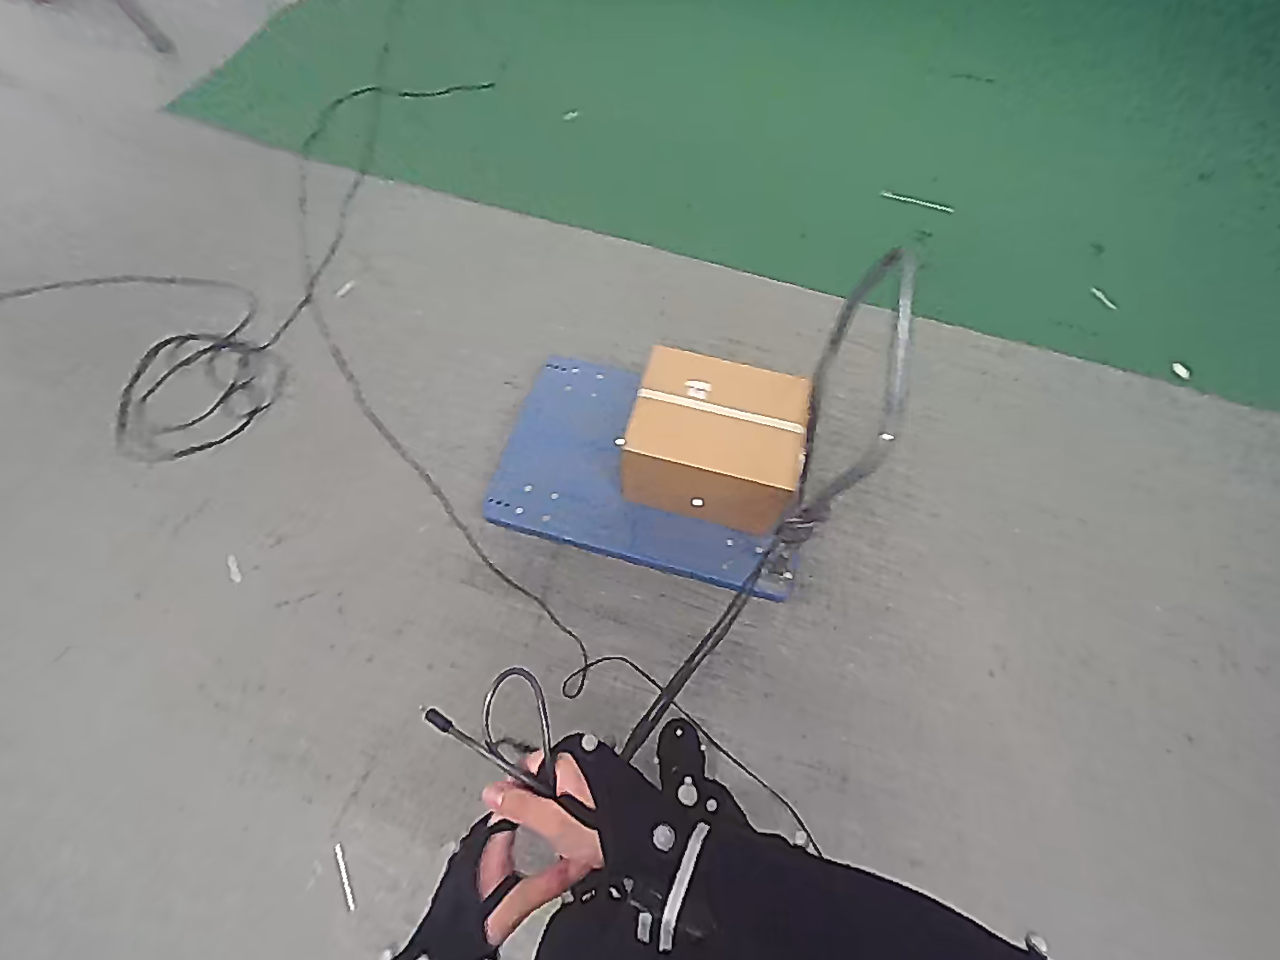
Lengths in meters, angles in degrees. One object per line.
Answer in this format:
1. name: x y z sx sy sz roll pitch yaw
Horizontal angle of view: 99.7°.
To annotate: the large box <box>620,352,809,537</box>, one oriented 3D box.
1. large box: 0.184 -0.080 1.403 0.408 0.320 0.320 14 65 6
